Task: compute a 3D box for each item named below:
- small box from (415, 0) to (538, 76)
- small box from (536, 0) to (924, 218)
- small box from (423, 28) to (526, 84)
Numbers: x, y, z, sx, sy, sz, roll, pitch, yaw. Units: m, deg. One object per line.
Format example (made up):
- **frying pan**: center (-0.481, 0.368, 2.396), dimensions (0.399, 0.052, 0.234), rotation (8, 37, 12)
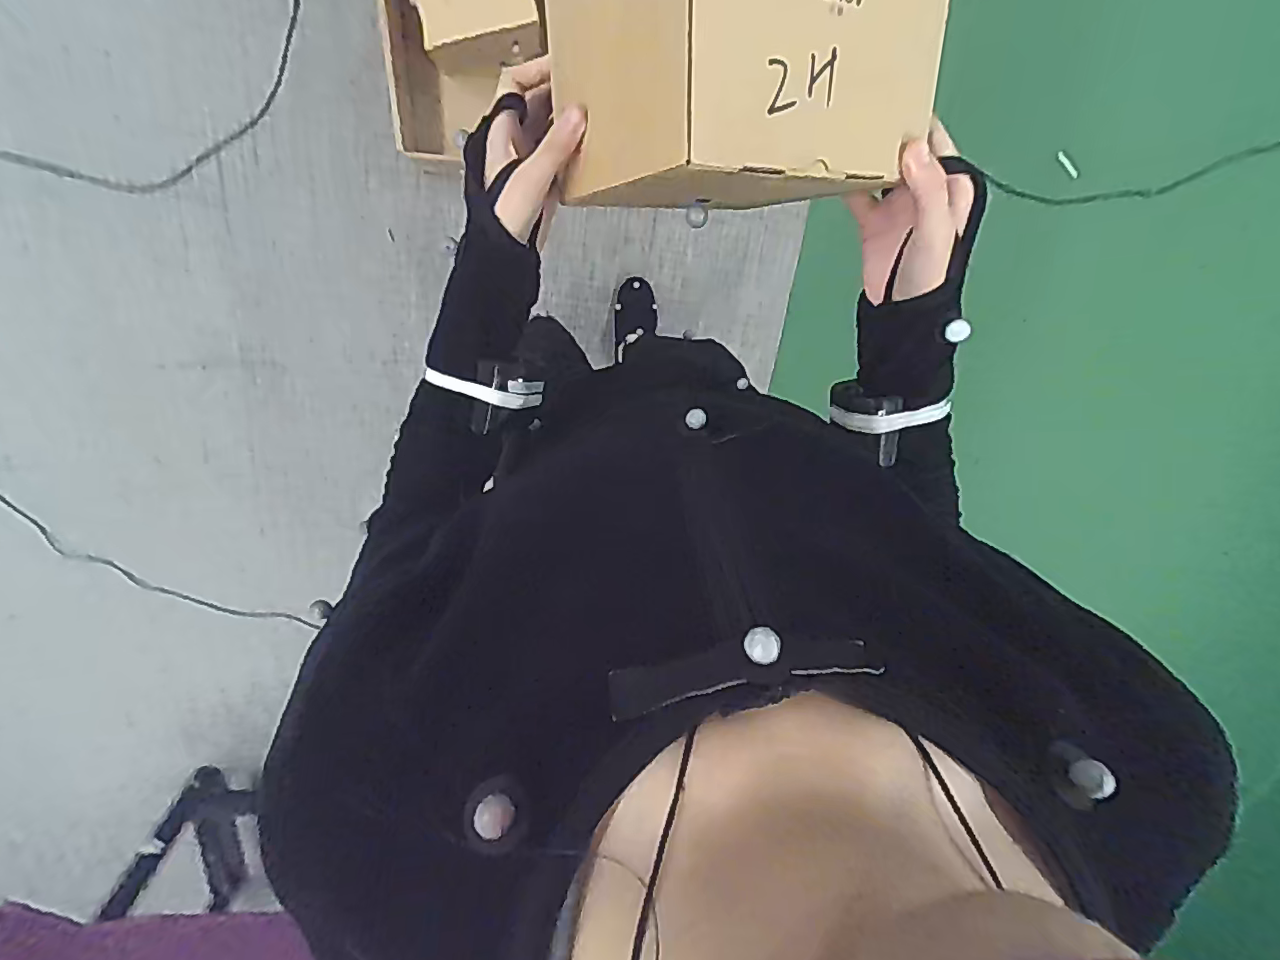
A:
- **small box**: center (-0.274, -0.793, 0.880), dimensions (0.179, 0.176, 0.168), rotation (-16, 115, -3)
- **small box**: center (0.043, -0.264, 0.325), dimensions (0.168, 0.176, 0.179), rotation (-13, 114, -25)
- **small box**: center (-0.307, -0.872, 1.019), dimensions (0.179, 0.176, 0.168), rotation (-1, 114, -10)
